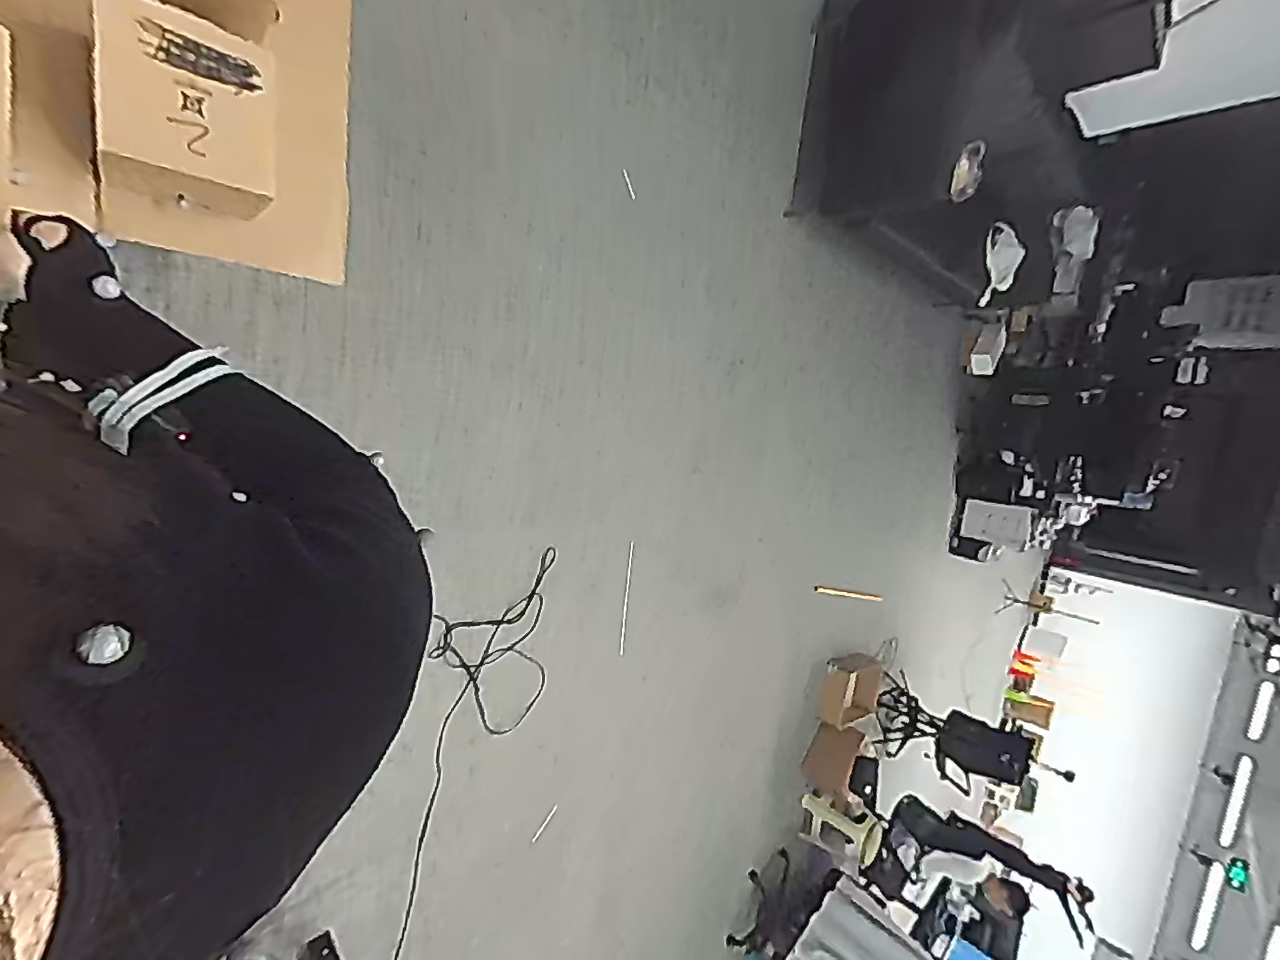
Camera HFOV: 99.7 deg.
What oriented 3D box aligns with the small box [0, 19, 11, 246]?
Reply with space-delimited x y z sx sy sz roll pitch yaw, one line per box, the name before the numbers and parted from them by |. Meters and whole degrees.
small box | -0.594 -0.261 0.394 0.168 0.176 0.179 0 82 -55
